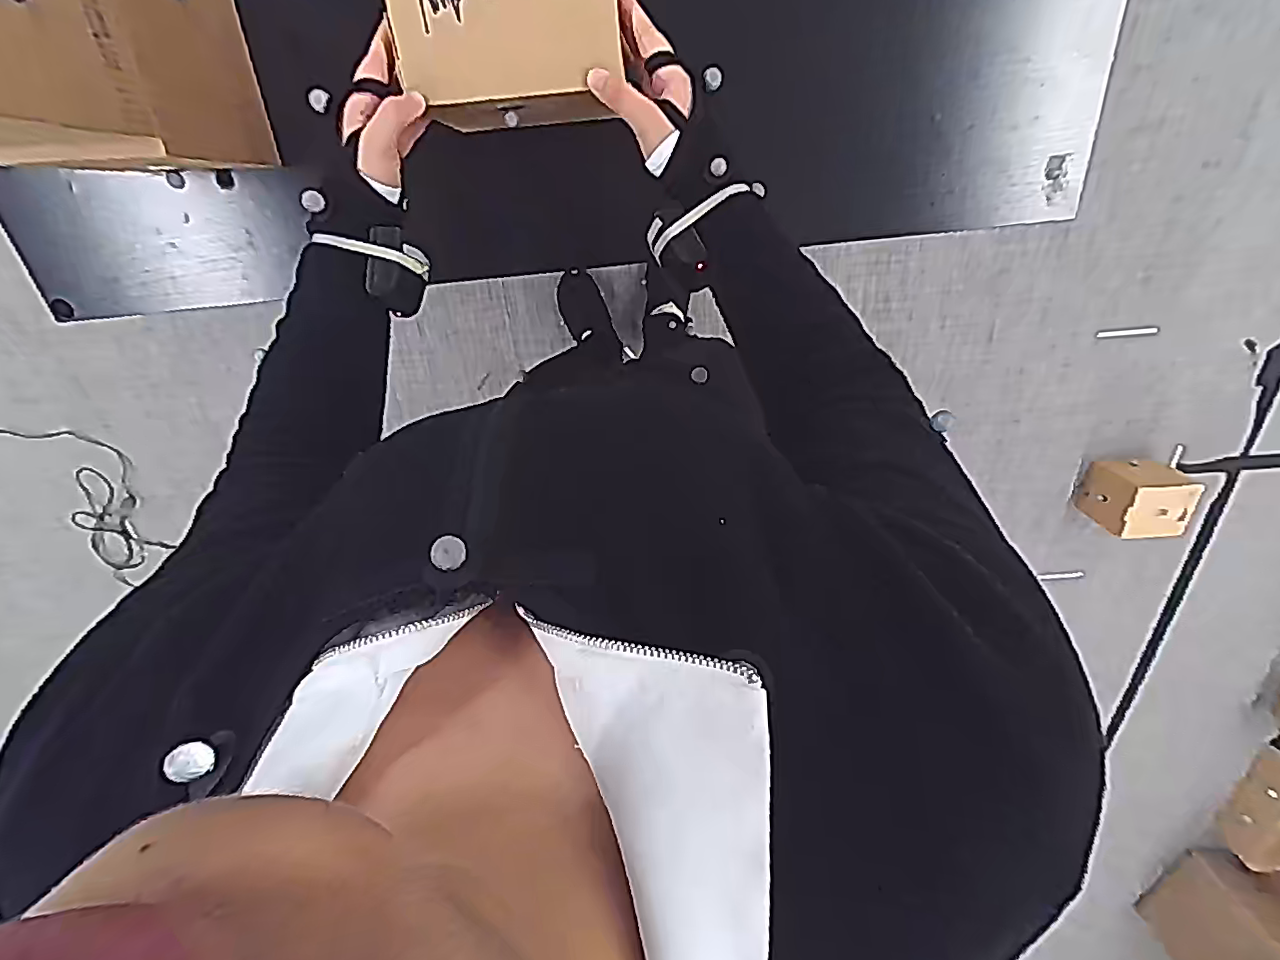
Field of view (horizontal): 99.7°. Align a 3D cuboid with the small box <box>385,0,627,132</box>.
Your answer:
[{"bbox_3d":[-0.104,-0.408,0.462,0.179,0.176,0.168,-5,117,1],"label":"small box"}]

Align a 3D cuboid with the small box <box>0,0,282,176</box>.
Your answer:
[{"bbox_3d":[-0.464,-0.373,0.474,0.168,0.176,0.179,-2,118,1],"label":"small box"}]

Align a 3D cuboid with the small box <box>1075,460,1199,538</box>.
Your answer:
[{"bbox_3d":[1.413,0.050,1.554,0.179,0.176,0.168,-3,118,1],"label":"small box"}]

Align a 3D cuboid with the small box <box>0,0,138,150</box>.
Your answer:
[{"bbox_3d":[-0.467,-0.302,0.325,0.179,0.176,0.168,-2,117,1],"label":"small box"}]
